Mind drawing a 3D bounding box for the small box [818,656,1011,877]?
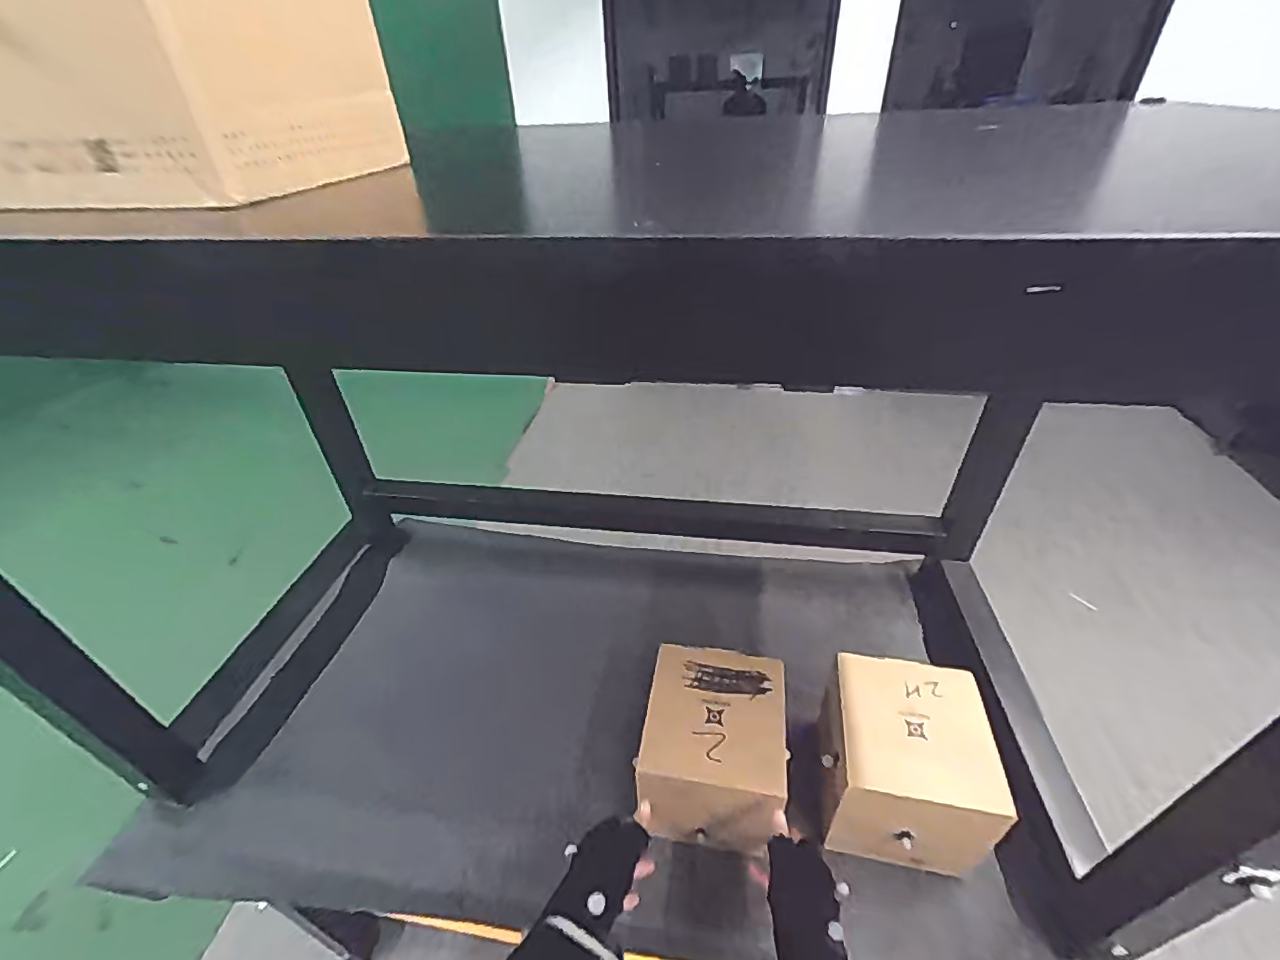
[{"bbox_3d":[0.321,0.353,0.673,0.168,0.176,0.179,6,36,12],"label":"small box"}]

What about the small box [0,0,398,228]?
[{"bbox_3d":[-0.270,-0.248,0.307,0.168,0.176,0.179,4,36,10],"label":"small box"}]
